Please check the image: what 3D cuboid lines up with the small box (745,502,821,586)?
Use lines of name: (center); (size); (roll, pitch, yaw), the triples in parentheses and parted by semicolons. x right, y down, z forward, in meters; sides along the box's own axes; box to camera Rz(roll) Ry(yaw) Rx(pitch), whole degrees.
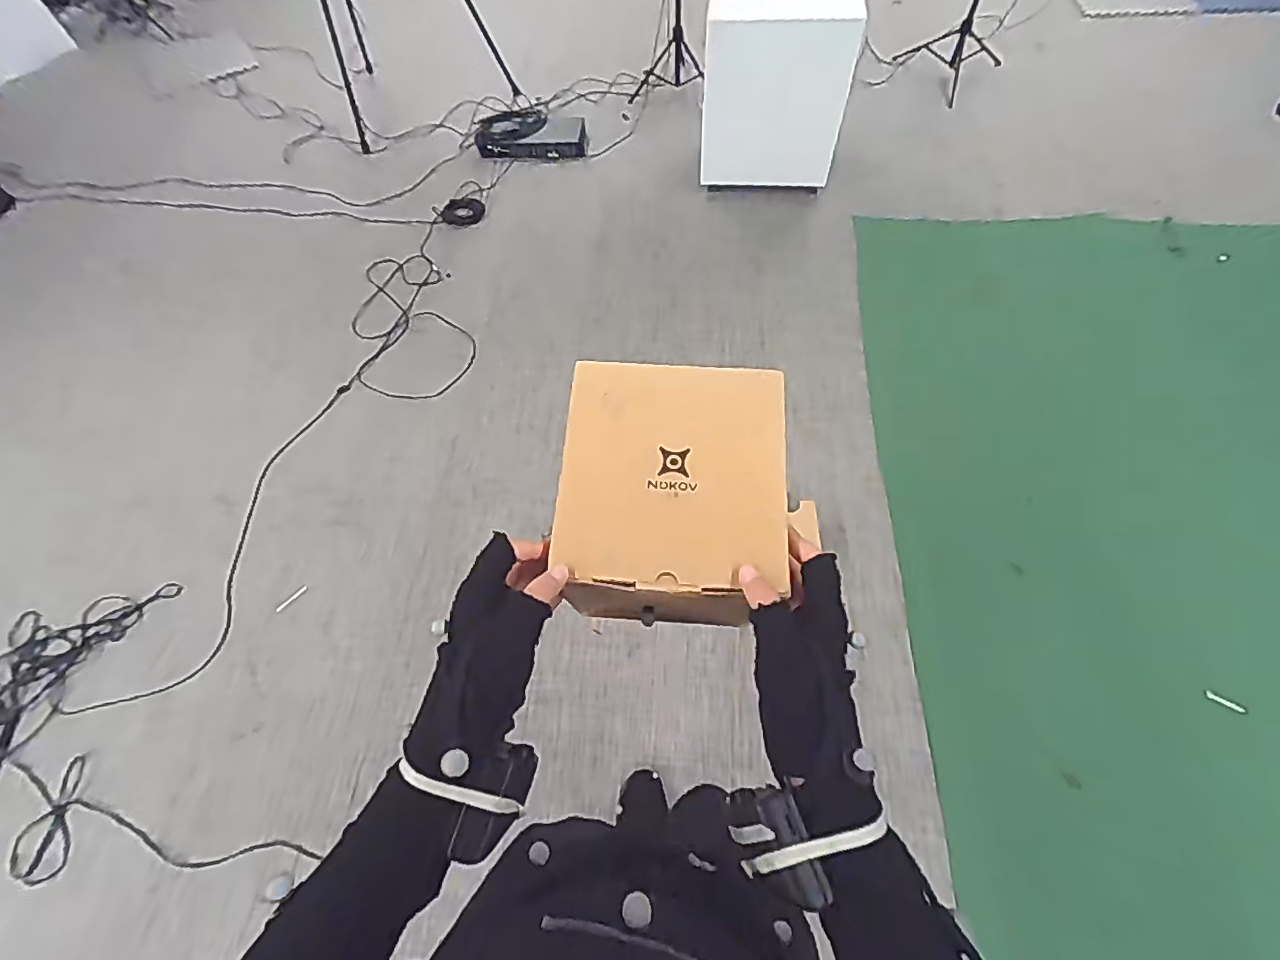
small box: (0.370, 0.172, 1.425); (0.168, 0.176, 0.179); (1, 61, 4)
